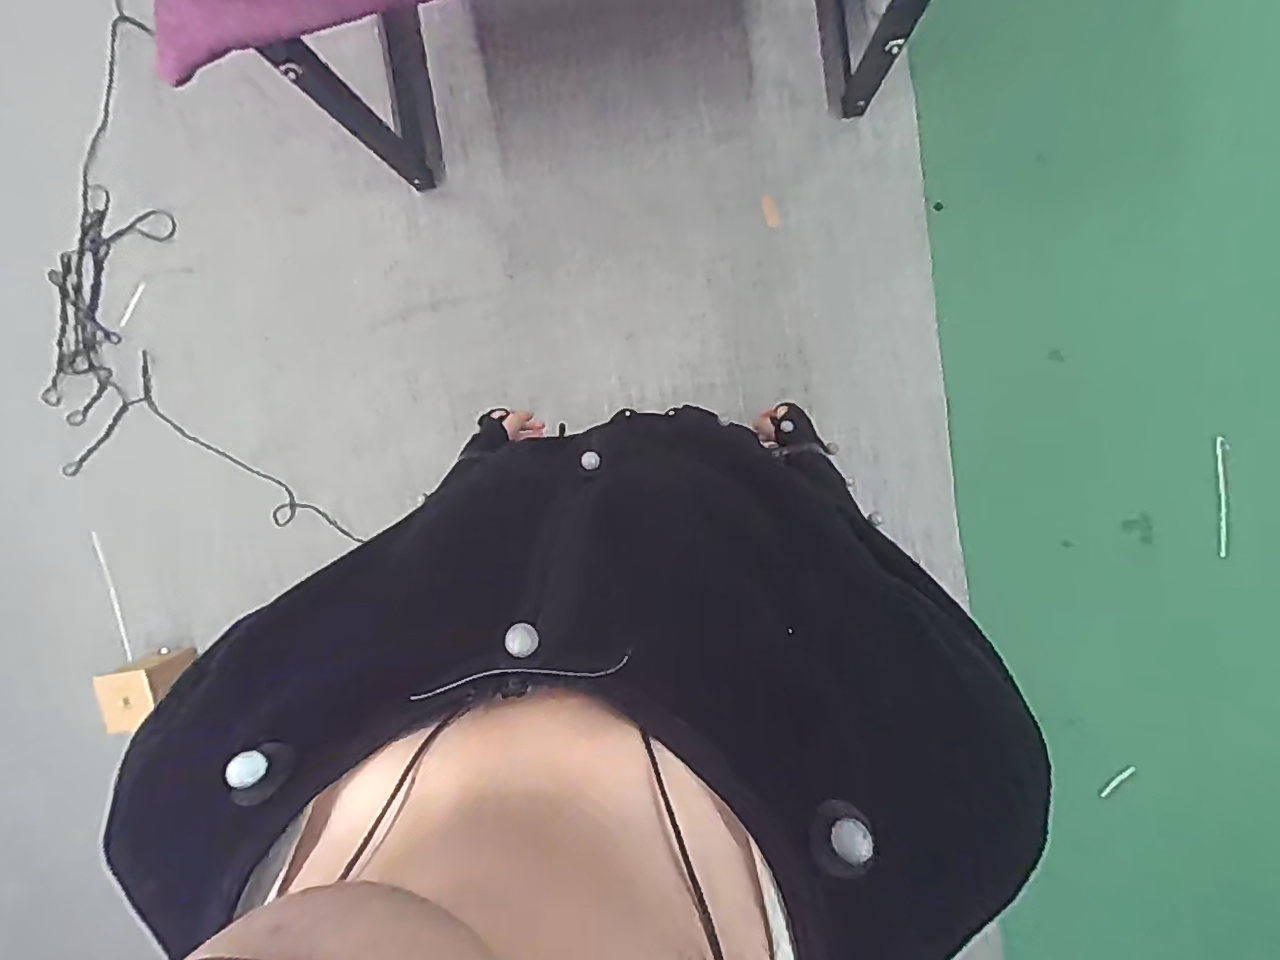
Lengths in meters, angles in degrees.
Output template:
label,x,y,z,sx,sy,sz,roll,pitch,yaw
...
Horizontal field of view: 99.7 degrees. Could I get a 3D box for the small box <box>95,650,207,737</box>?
label,x,y,z,sx,sy,sz,roll,pitch,yaw
small box,-1.439,0.629,1.604,0.168,0.176,0.179,-10,95,5
